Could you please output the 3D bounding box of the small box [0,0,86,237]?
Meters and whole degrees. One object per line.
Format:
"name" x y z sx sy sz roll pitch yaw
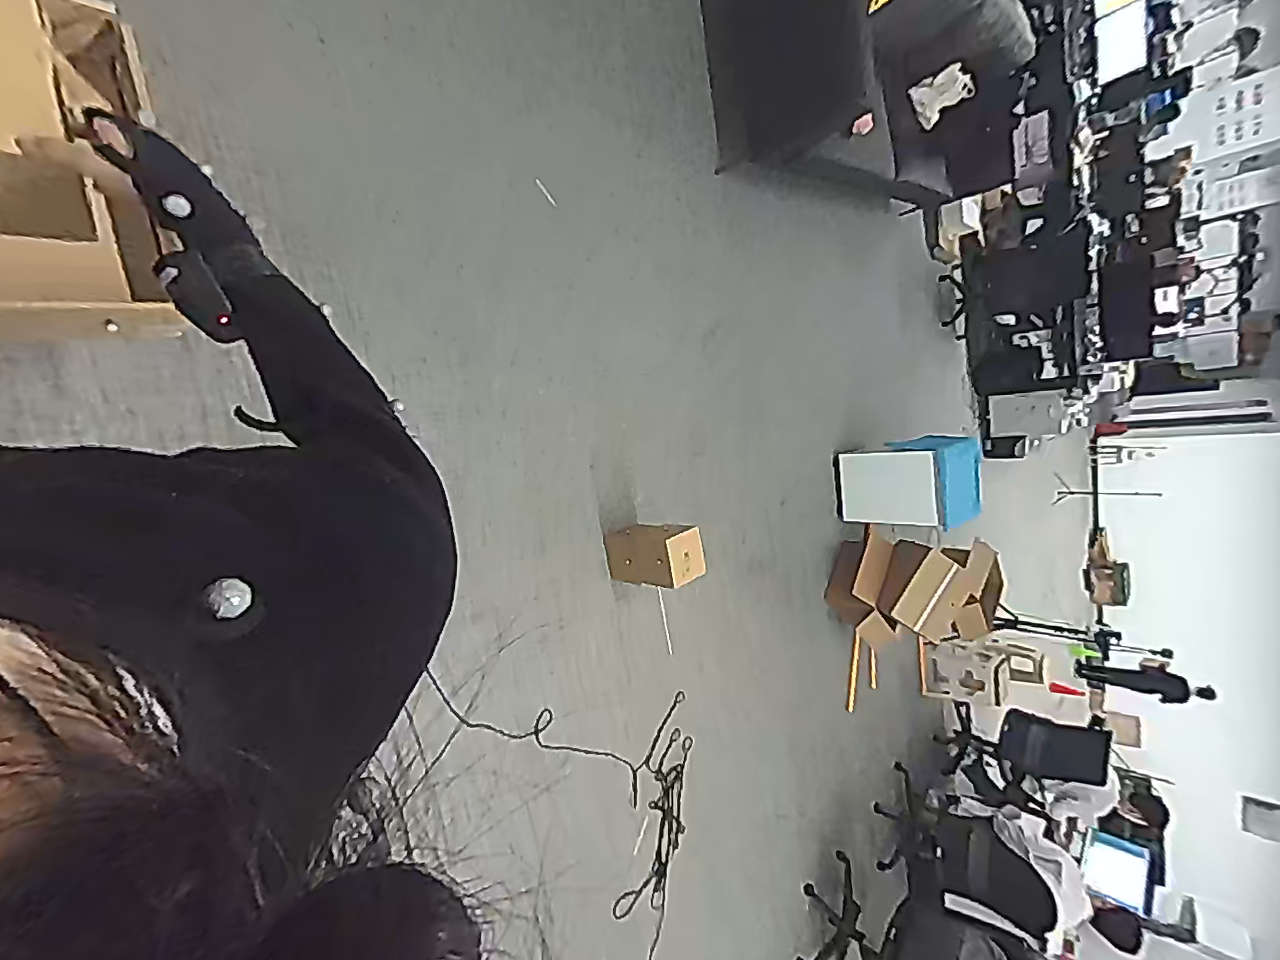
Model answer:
"small box" -0.578 -0.312 0.428 0.179 0.176 0.168 -12 94 -41

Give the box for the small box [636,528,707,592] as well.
"small box" 0.104 0.269 1.871 0.168 0.176 0.179 -17 101 -41

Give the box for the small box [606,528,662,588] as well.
"small box" -0.006 0.282 1.994 0.168 0.176 0.179 -18 102 -41
